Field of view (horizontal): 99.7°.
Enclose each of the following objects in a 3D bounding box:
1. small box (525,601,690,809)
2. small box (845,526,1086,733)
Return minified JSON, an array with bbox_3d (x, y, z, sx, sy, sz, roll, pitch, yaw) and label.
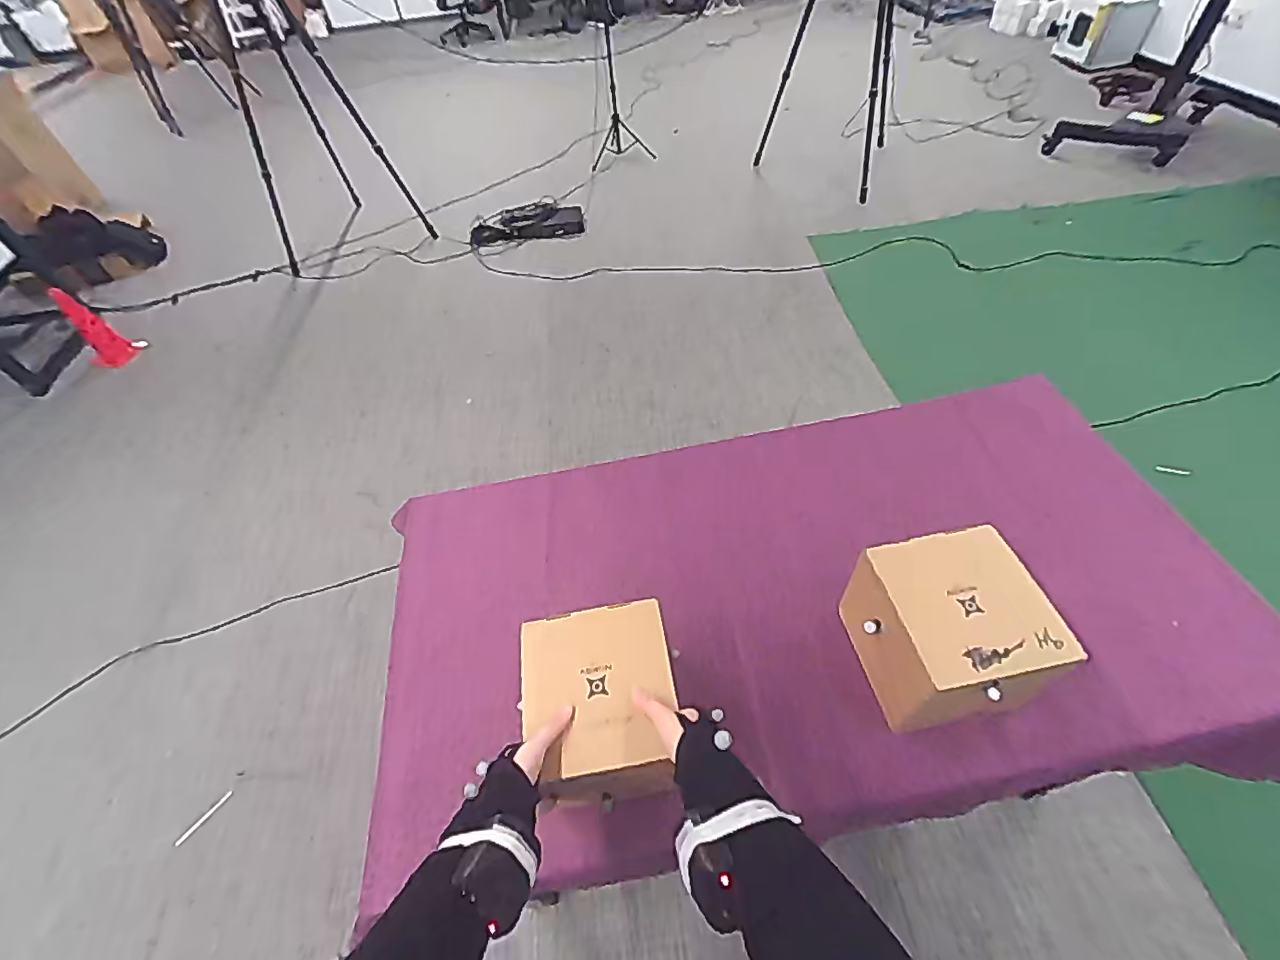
[{"bbox_3d":[-0.037,0.271,0.648,0.168,0.176,0.179,-10,52,-1],"label":"small box"},{"bbox_3d":[0.374,0.186,0.667,0.168,0.176,0.179,-12,50,-1],"label":"small box"}]
